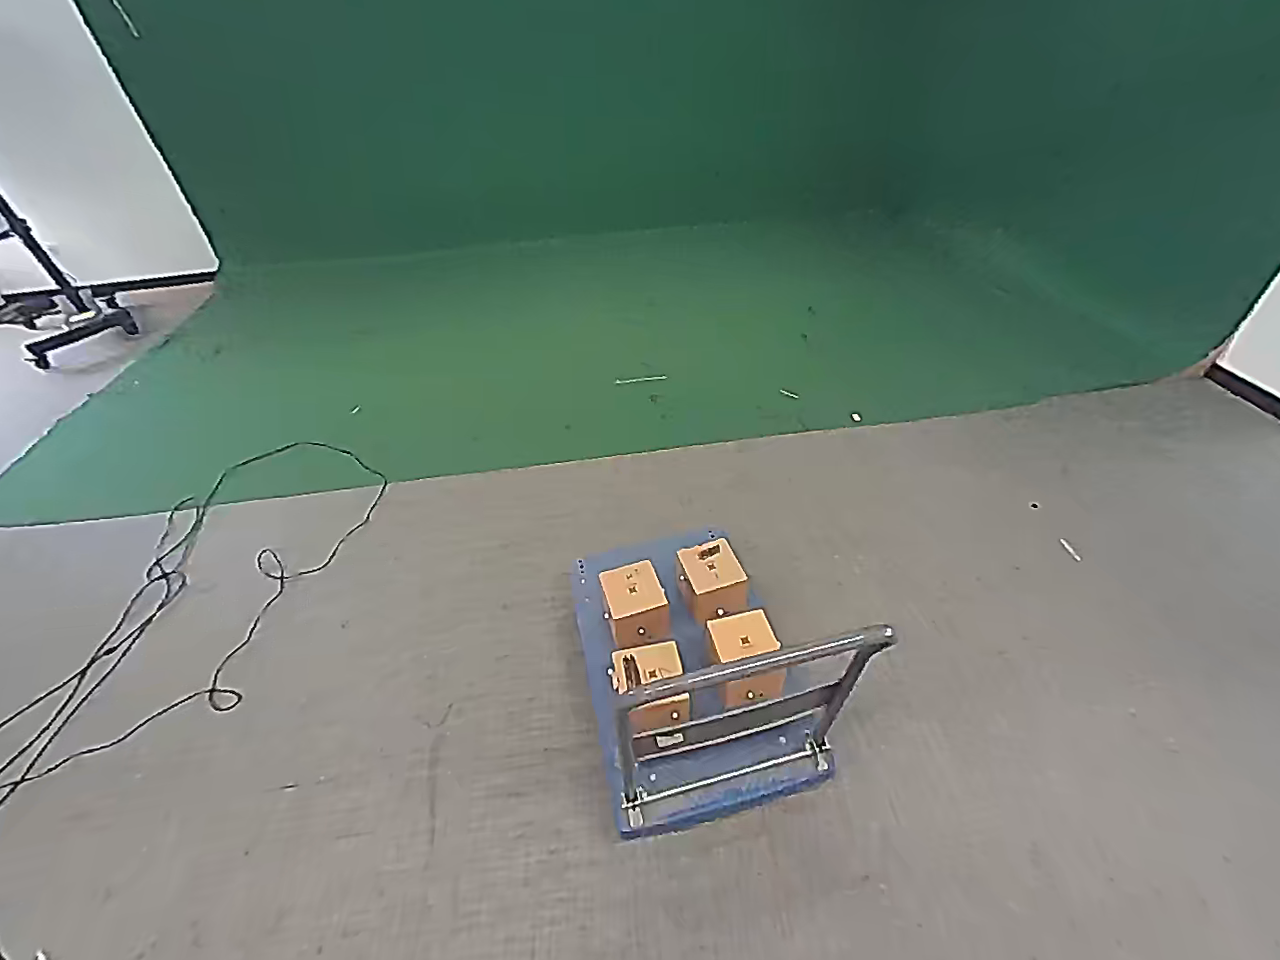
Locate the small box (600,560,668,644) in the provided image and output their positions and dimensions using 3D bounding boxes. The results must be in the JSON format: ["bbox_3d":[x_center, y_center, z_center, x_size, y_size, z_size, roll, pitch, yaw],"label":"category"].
[{"bbox_3d":[-0.016,0.382,1.663,0.168,0.176,0.179,-14,43,-11],"label":"small box"}]

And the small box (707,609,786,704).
[{"bbox_3d":[0.289,0.494,1.515,0.168,0.176,0.179,-11,43,-8],"label":"small box"}]

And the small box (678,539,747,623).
[{"bbox_3d":[0.224,0.319,1.710,0.168,0.176,0.179,-15,44,-10],"label":"small box"}]
